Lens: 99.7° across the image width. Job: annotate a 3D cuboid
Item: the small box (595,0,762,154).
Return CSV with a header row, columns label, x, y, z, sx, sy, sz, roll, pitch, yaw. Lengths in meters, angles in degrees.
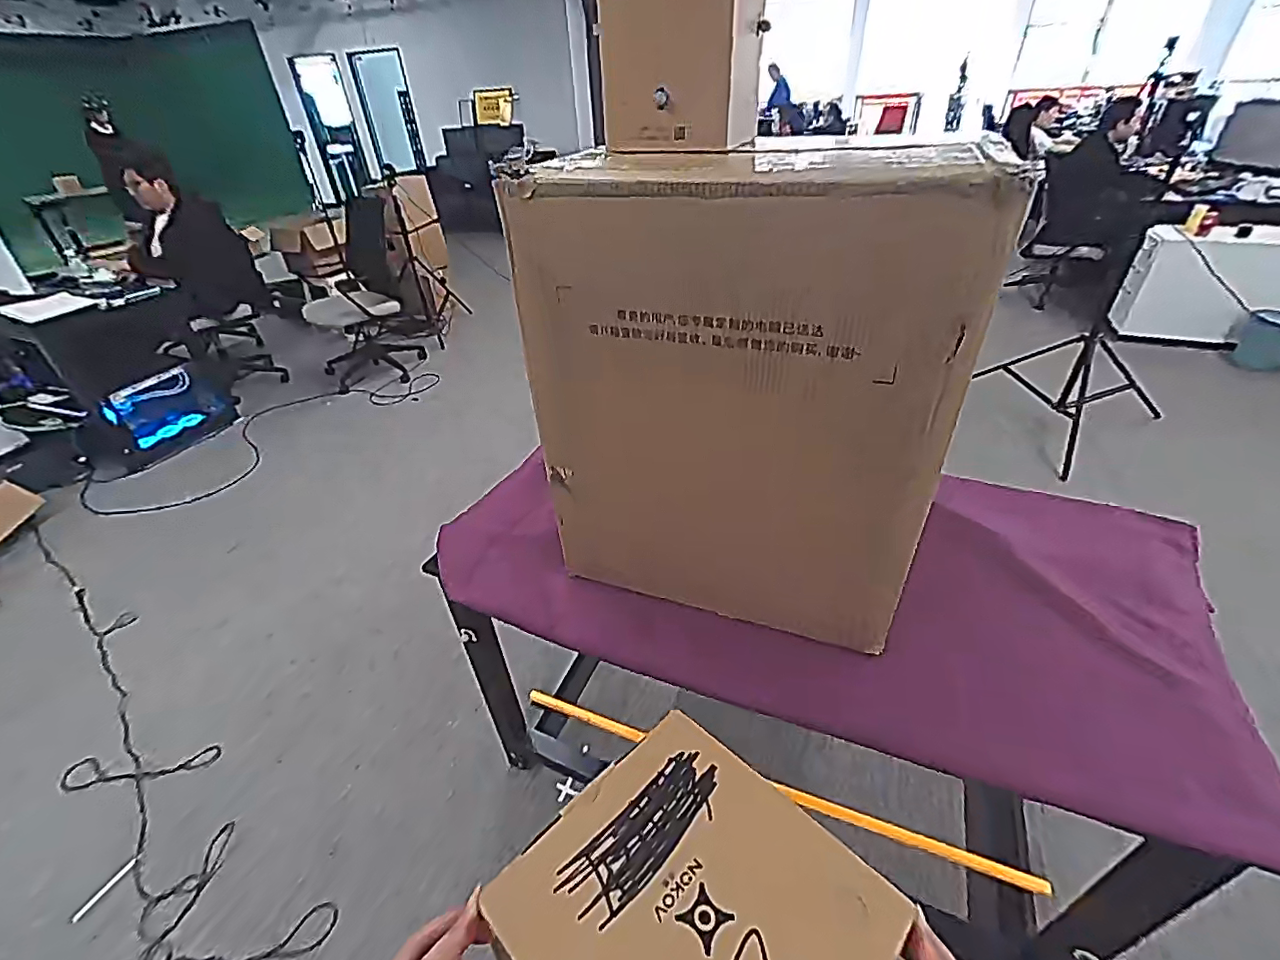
label,x,y,z,sx,sy,sz,roll,pitch,yaw
small box,0.052,-0.530,0.700,0.168,0.176,0.179,11,38,19
